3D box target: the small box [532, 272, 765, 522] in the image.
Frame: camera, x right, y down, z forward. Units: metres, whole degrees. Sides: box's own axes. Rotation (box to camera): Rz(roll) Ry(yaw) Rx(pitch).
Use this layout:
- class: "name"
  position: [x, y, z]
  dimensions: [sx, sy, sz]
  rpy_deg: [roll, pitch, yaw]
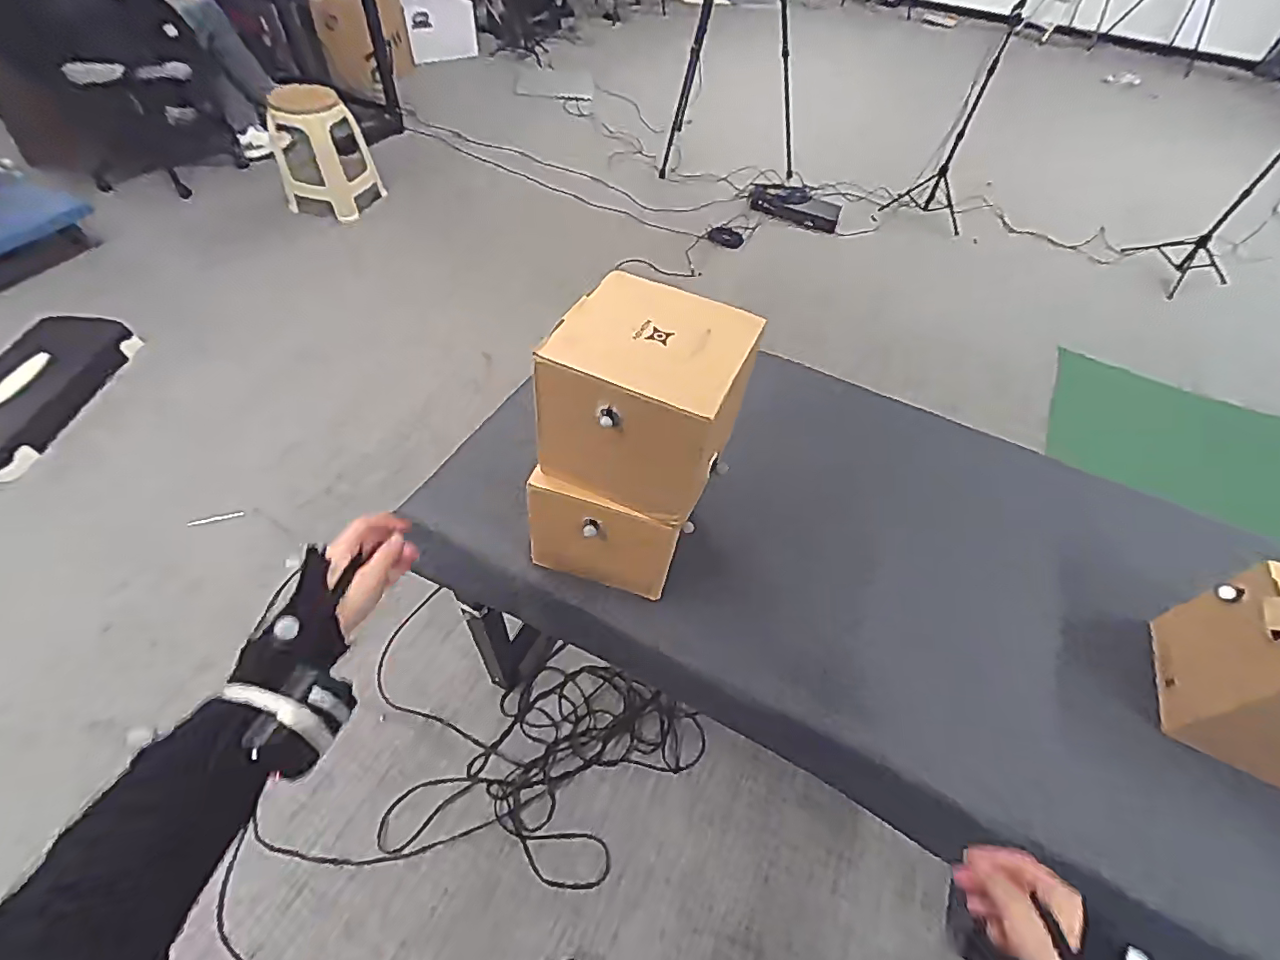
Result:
- class: "small box"
  position: [0.007, -0.083, 0.568]
  dimensions: [0.179, 0.176, 0.168]
  rpy_deg: [23, 53, 11]

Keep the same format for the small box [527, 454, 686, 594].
- class: "small box"
  position: [-0.026, 0.023, 0.688]
  dimensions: [0.179, 0.176, 0.168]
  rpy_deg: [16, 50, 7]
